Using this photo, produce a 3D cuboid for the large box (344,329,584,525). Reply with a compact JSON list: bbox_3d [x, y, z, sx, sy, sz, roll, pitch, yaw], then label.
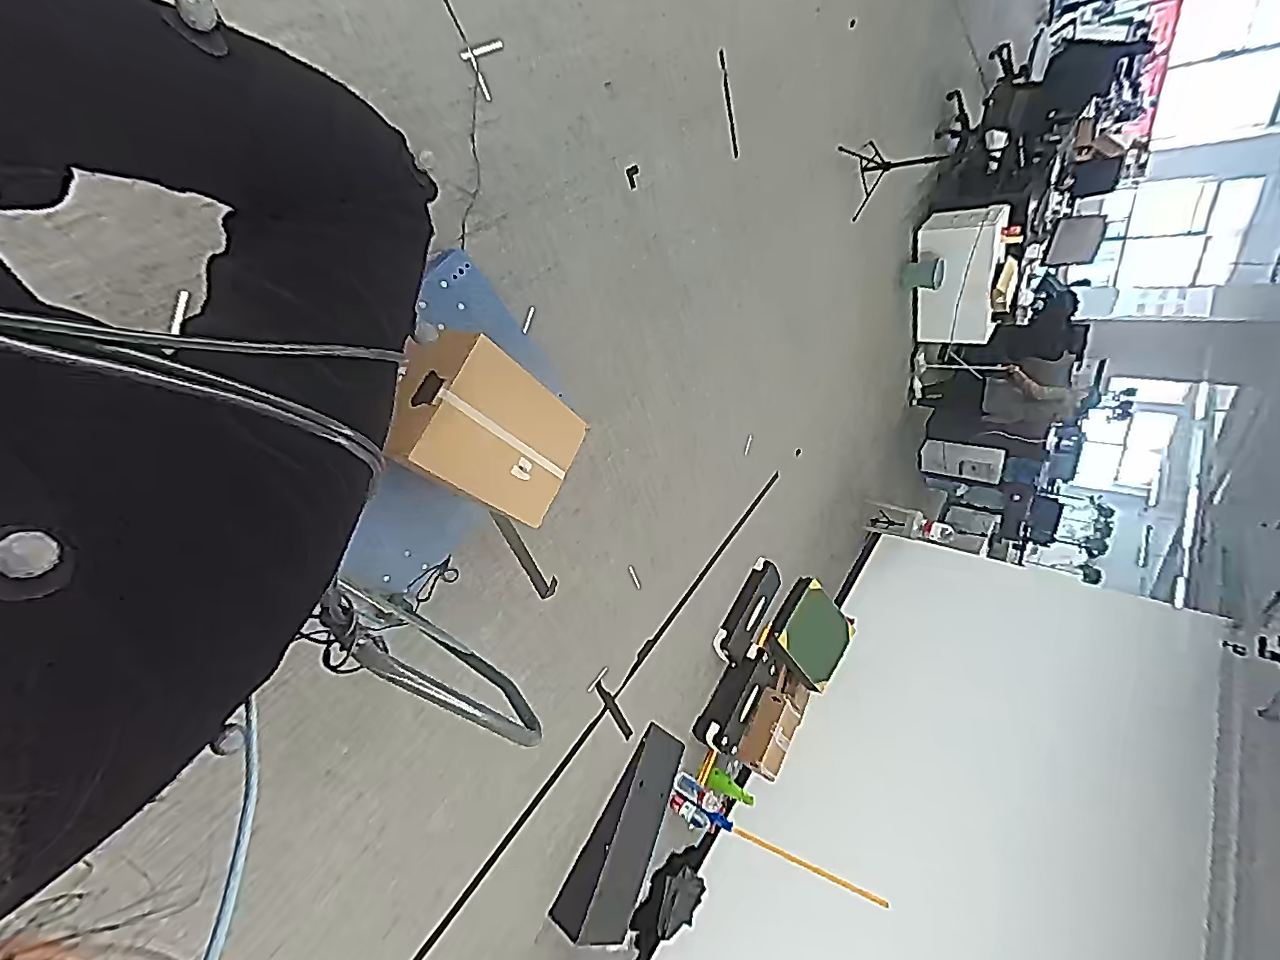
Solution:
[{"bbox_3d":[-0.424,-0.130,1.350,0.408,0.320,0.320,41,71,-49],"label":"large box"}]
